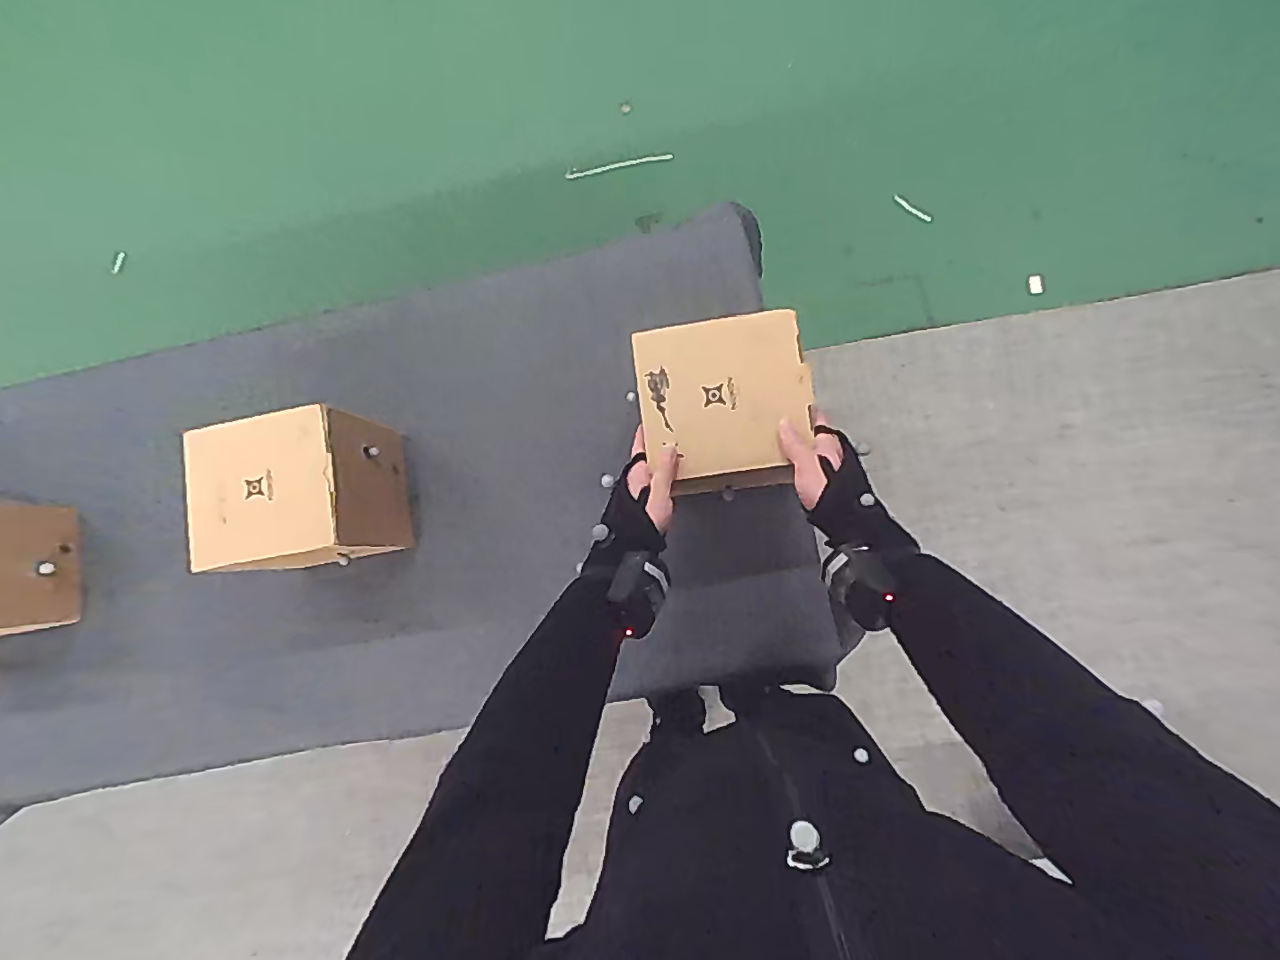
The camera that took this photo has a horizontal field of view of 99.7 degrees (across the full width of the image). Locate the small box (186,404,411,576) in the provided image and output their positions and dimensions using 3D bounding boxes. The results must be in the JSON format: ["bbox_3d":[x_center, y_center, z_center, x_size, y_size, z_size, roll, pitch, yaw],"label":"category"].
[{"bbox_3d":[-0.404,0.020,0.669,0.179,0.176,0.168,-11,81,5],"label":"small box"}]

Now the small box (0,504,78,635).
[{"bbox_3d":[-0.898,0.125,0.698,0.179,0.176,0.168,-10,82,3],"label":"small box"}]

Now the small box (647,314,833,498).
[{"bbox_3d":[0.105,-0.073,0.630,0.179,0.176,0.168,-7,82,4],"label":"small box"}]
